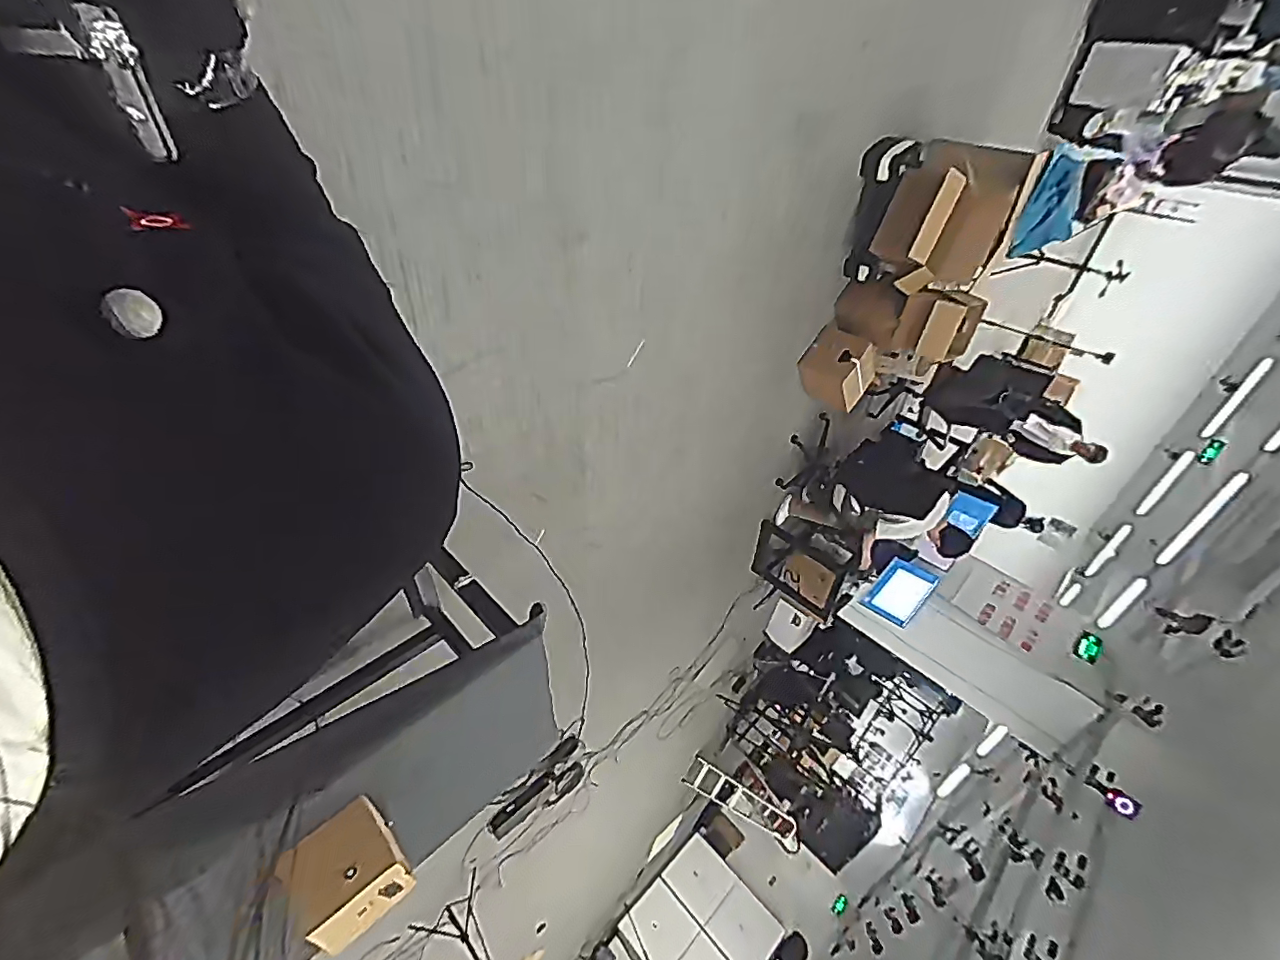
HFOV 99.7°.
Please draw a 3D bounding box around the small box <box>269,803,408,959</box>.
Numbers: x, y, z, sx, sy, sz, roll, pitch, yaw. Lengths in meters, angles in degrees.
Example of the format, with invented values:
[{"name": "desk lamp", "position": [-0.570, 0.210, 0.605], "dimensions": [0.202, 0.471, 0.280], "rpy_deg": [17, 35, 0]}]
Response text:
[{"name": "small box", "position": [-0.610, 0.808, 1.102], "dimensions": [0.179, 0.176, 0.168], "rpy_deg": [-30, 140, -32]}]
